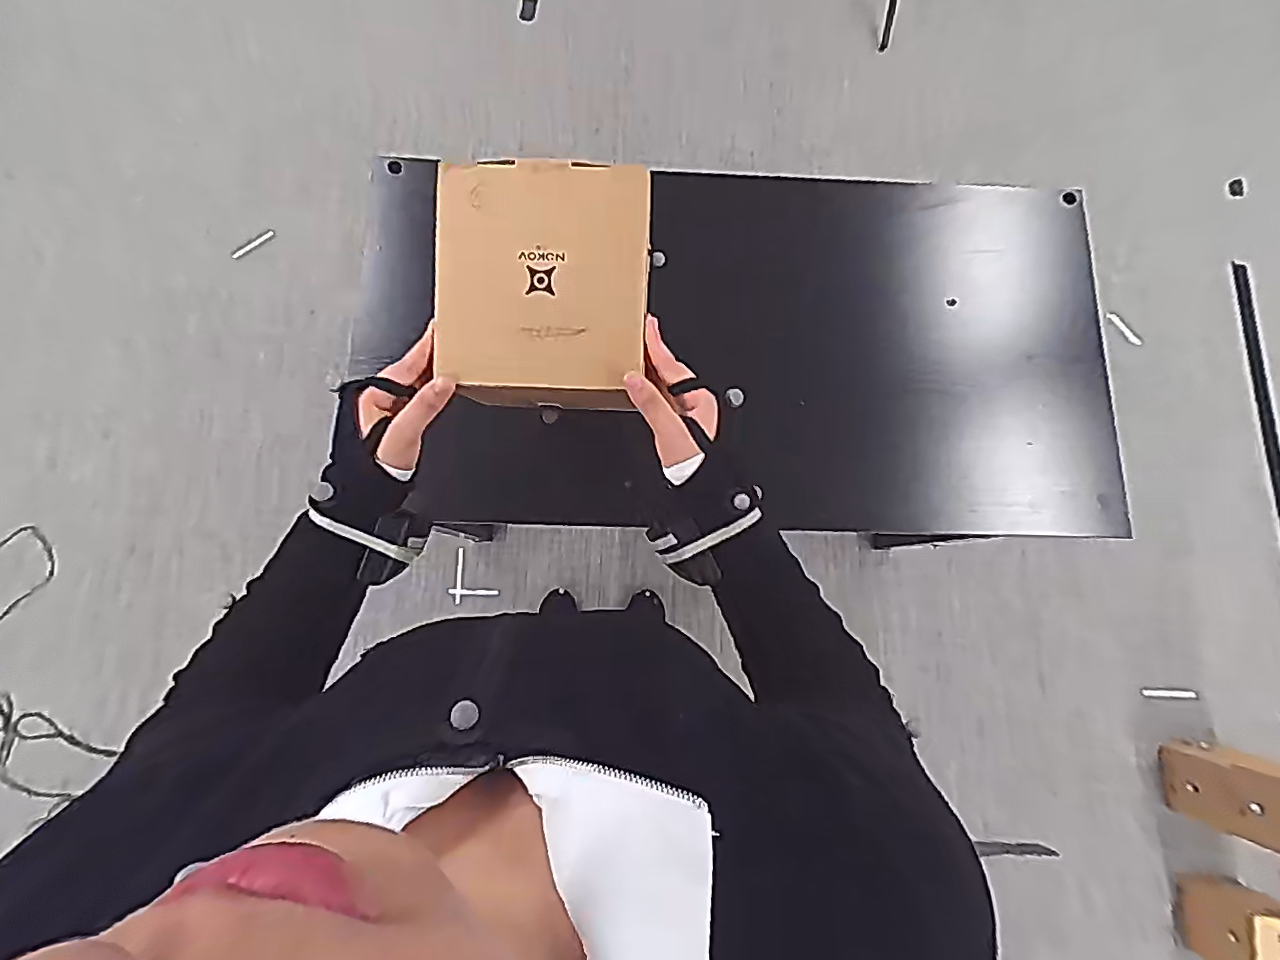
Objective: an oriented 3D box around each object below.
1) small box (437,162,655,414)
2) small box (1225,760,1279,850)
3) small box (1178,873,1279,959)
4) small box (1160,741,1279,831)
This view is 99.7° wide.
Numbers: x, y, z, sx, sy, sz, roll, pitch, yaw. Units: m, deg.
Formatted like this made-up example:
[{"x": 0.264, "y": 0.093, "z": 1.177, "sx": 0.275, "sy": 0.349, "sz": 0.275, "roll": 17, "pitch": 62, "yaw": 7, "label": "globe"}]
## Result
[{"x": -0.074, "y": -0.158, "z": 0.498, "sx": 0.168, "sy": 0.176, "sz": 0.179, "roll": 1, "pitch": 92, "yaw": 0, "label": "small box"}, {"x": 1.515, "y": 0.759, "z": 1.236, "sx": 0.179, "sy": 0.176, "sz": 0.168, "roll": 7, "pitch": 79, "yaw": -1, "label": "small box"}, {"x": 1.498, "y": 1.116, "z": 1.343, "sx": 0.168, "sy": 0.176, "sz": 0.179, "roll": 5, "pitch": 81, "yaw": -1, "label": "small box"}, {"x": 1.505, "y": 0.787, "z": 1.400, "sx": 0.179, "sy": 0.176, "sz": 0.168, "roll": 1, "pitch": 80, "yaw": -1, "label": "small box"}]
